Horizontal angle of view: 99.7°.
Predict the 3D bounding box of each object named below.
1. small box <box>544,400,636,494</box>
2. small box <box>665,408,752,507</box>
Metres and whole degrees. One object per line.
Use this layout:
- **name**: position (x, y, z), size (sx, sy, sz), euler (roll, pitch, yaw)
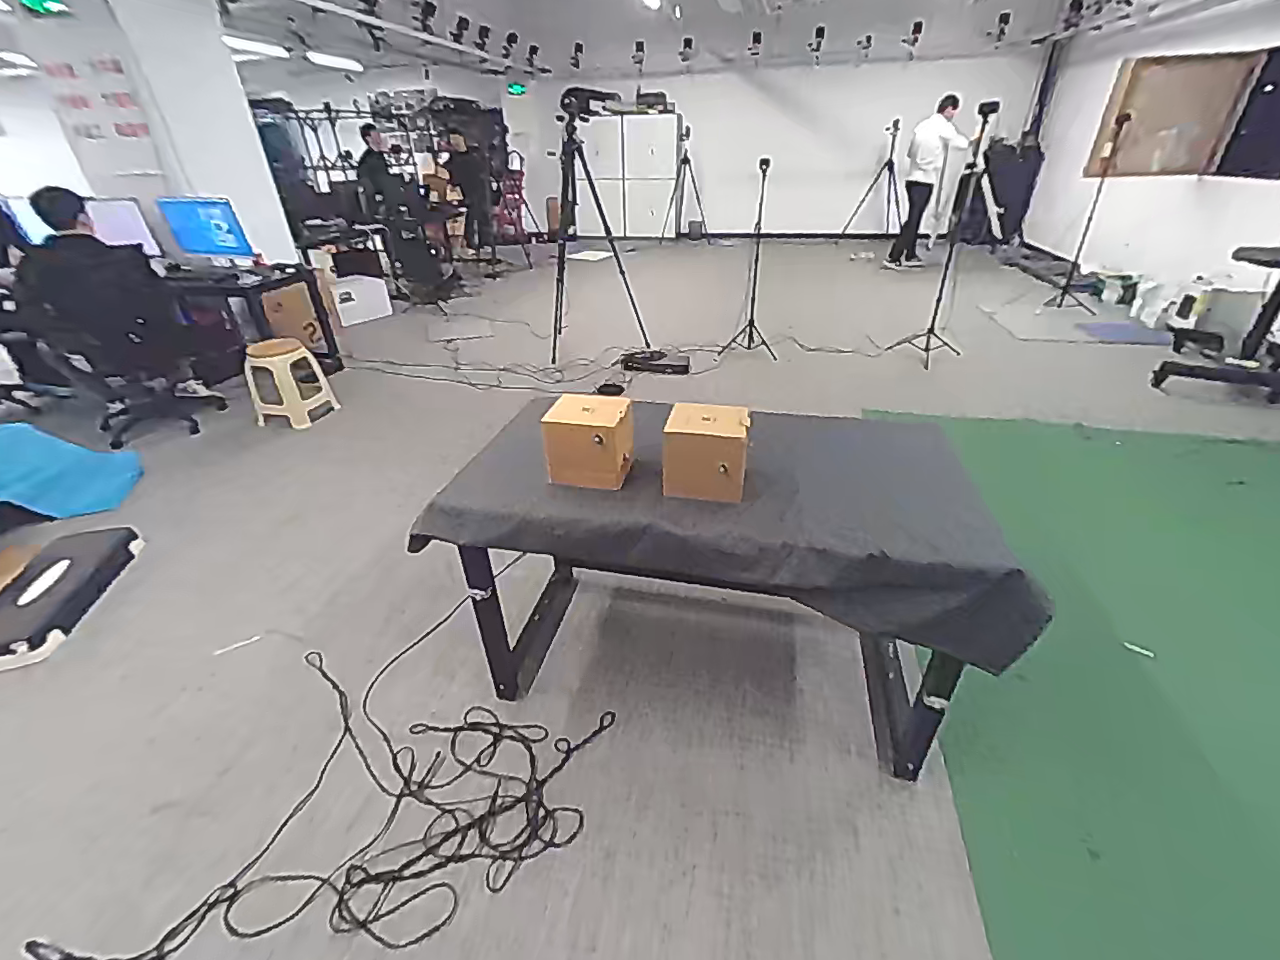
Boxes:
- **small box**: position (-0.113, -0.080, 1.298), size (0.179, 0.176, 0.168), euler (5, 31, 11)
- **small box**: position (0.158, -0.053, 1.234), size (0.179, 0.176, 0.168), euler (4, 30, 13)
